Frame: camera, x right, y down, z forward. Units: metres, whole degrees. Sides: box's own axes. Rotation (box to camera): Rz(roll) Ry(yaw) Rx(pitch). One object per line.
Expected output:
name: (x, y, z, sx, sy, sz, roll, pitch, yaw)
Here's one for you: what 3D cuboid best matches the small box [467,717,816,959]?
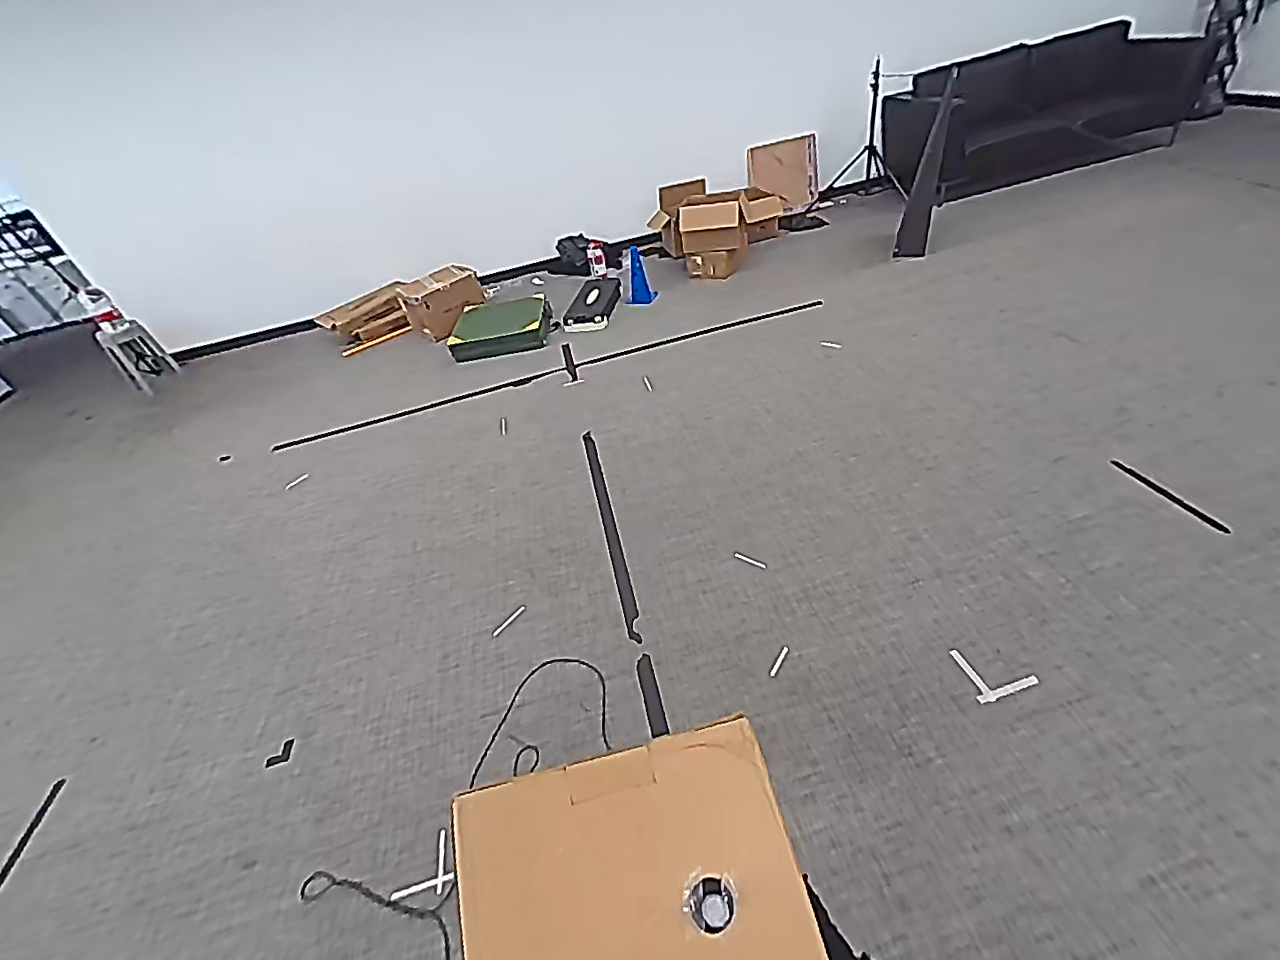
small box: (0.002, 0.265, 0.345, 0.168, 0.179, 0.176, -12, 64, -7)
